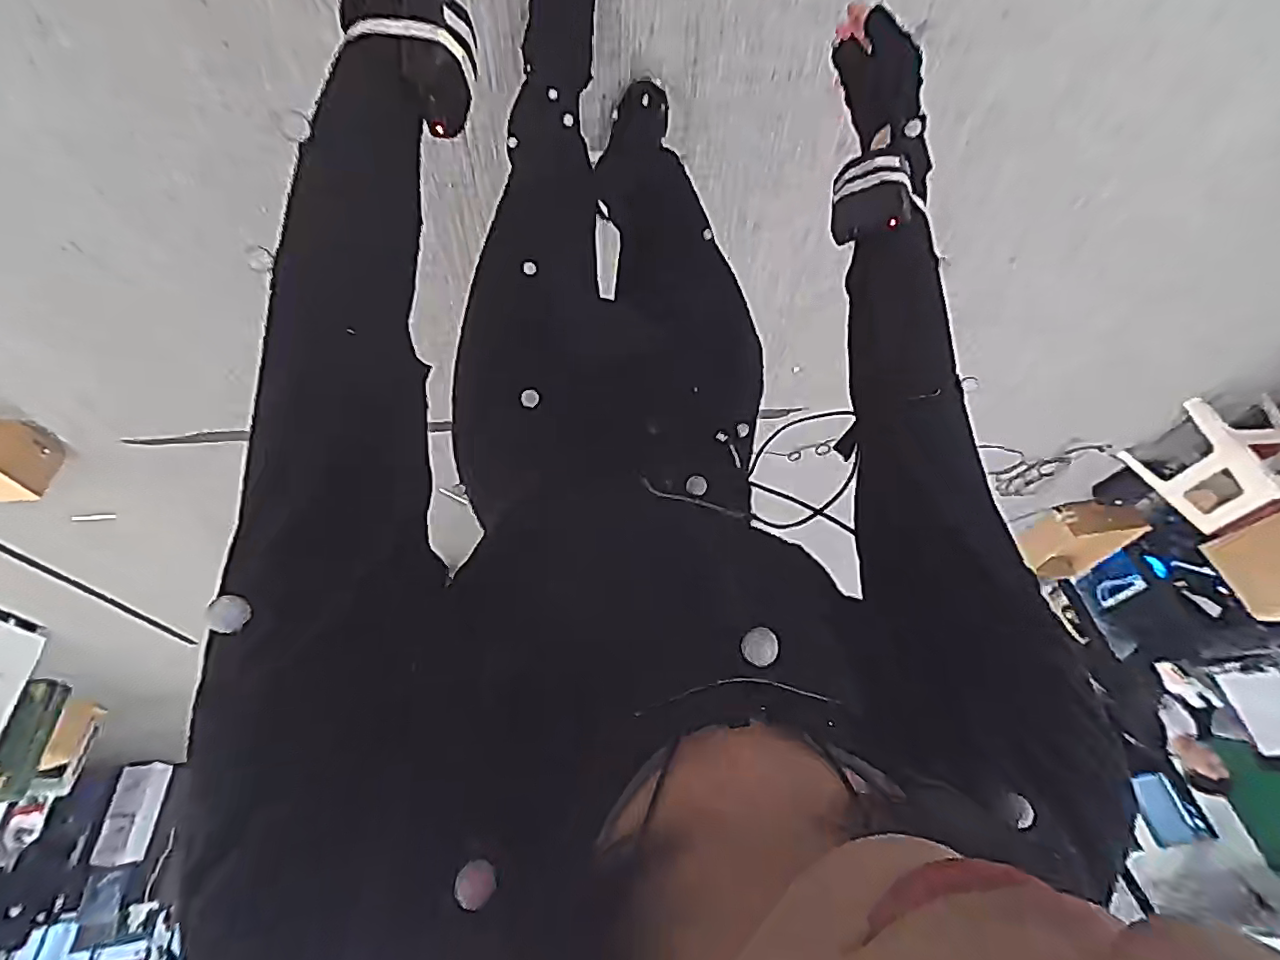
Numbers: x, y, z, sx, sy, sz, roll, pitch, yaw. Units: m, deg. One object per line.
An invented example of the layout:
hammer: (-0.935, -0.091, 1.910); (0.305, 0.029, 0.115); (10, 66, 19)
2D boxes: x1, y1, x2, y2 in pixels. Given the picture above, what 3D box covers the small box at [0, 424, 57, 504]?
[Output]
small box: (-1.874, -0.046, 1.562); (0.179, 0.176, 0.168); (-5, 146, -7)
